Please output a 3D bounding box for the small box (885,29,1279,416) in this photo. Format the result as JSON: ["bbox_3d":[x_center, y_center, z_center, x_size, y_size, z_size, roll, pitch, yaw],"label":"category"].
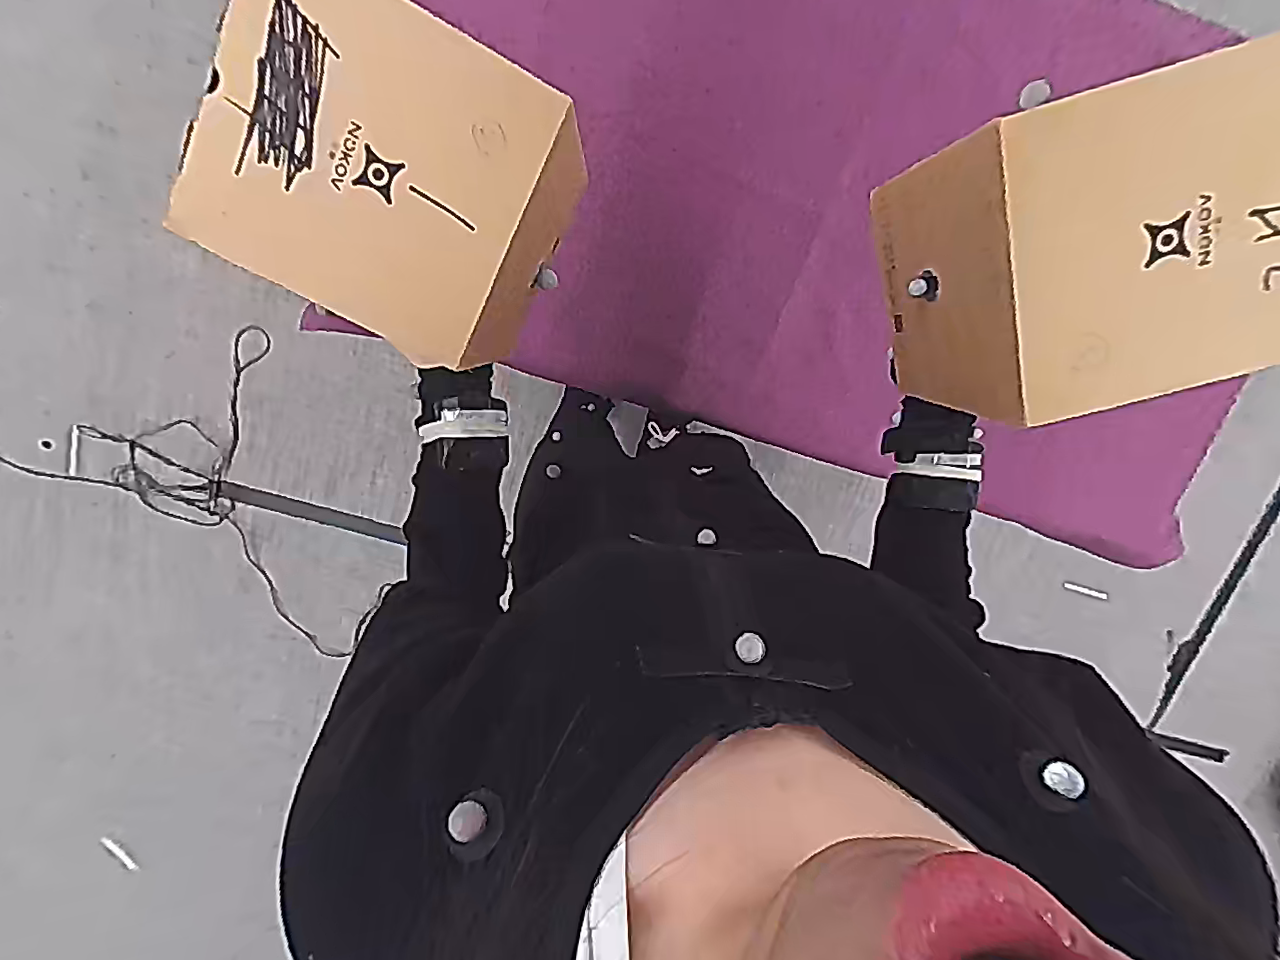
[{"bbox_3d":[0.285,-0.153,0.363,0.179,0.176,0.168,-15,106,5],"label":"small box"}]

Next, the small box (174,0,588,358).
[{"bbox_3d":[-0.149,-0.199,0.373,0.179,0.176,0.168,26,103,-10],"label":"small box"}]
